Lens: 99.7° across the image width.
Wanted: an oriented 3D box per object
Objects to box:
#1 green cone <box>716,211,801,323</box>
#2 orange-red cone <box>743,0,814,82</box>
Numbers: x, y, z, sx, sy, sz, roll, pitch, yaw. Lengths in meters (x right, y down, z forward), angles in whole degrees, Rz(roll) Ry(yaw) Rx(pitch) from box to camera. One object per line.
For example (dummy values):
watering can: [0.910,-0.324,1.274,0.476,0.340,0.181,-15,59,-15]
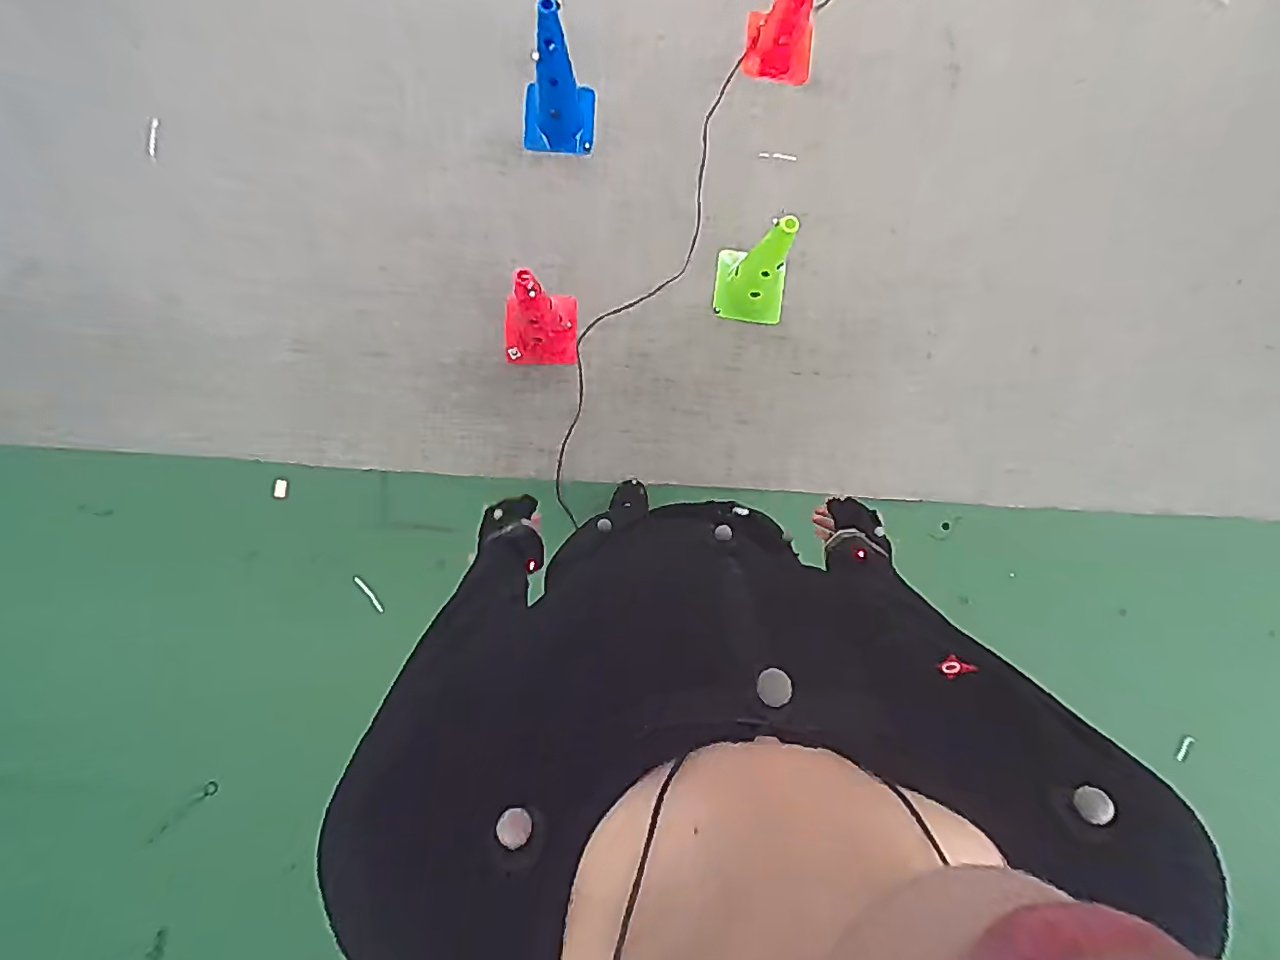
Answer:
green cone: [0.334,-0.569,1.389,0.200,0.368,0.202,6,86,-3]
orange-red cone: [0.419,-1.294,1.436,0.198,0.360,0.199,8,88,-2]
